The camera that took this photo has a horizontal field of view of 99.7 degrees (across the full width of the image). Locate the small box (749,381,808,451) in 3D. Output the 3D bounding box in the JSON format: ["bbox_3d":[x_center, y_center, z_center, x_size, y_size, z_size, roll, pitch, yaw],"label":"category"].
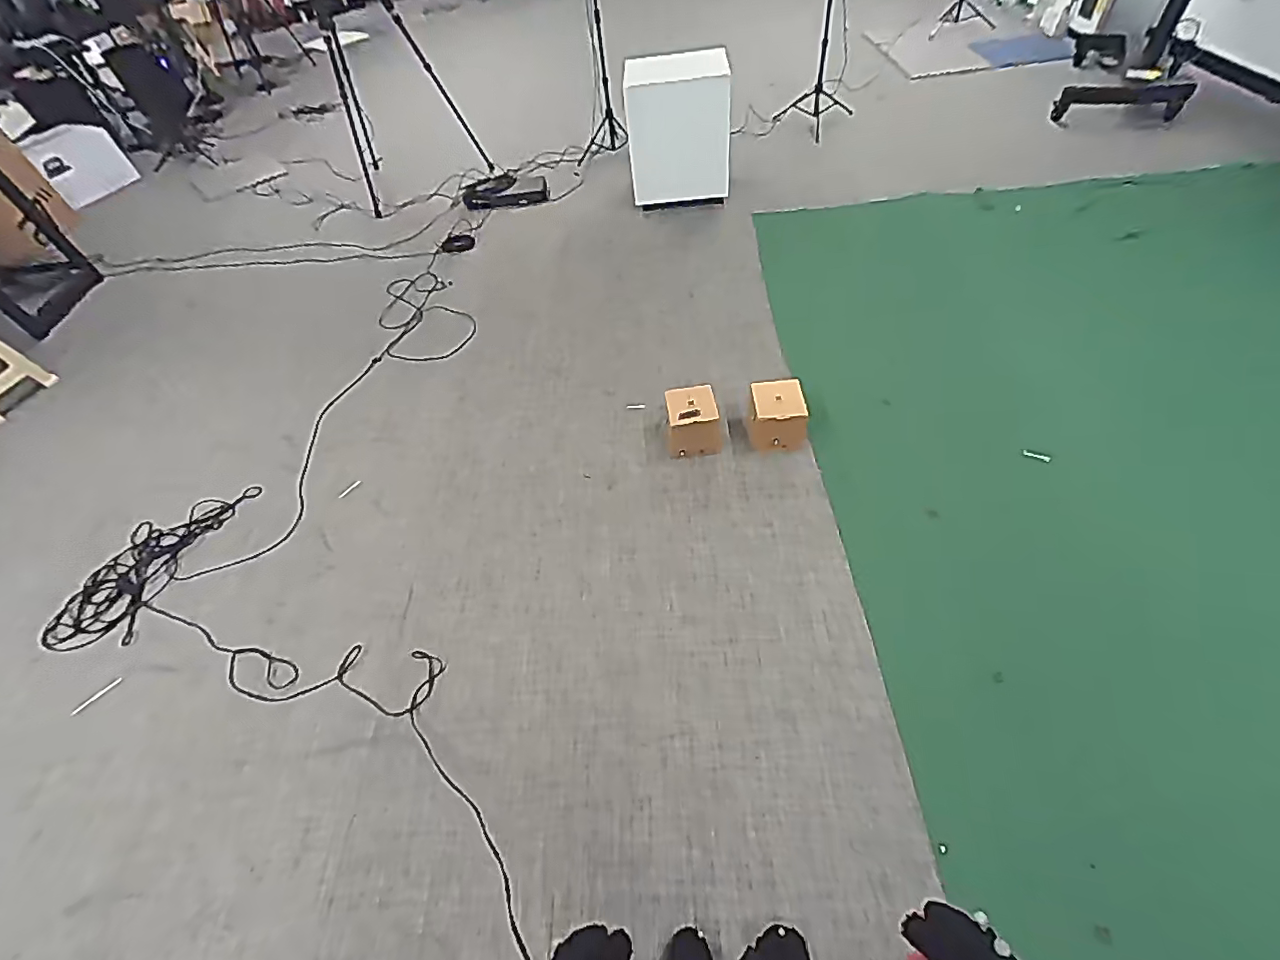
[{"bbox_3d":[0.476,-0.222,1.884,0.168,0.176,0.179,-5,52,4],"label":"small box"}]

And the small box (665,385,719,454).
[{"bbox_3d":[0.185,-0.206,1.904,0.168,0.176,0.179,-7,51,1],"label":"small box"}]
